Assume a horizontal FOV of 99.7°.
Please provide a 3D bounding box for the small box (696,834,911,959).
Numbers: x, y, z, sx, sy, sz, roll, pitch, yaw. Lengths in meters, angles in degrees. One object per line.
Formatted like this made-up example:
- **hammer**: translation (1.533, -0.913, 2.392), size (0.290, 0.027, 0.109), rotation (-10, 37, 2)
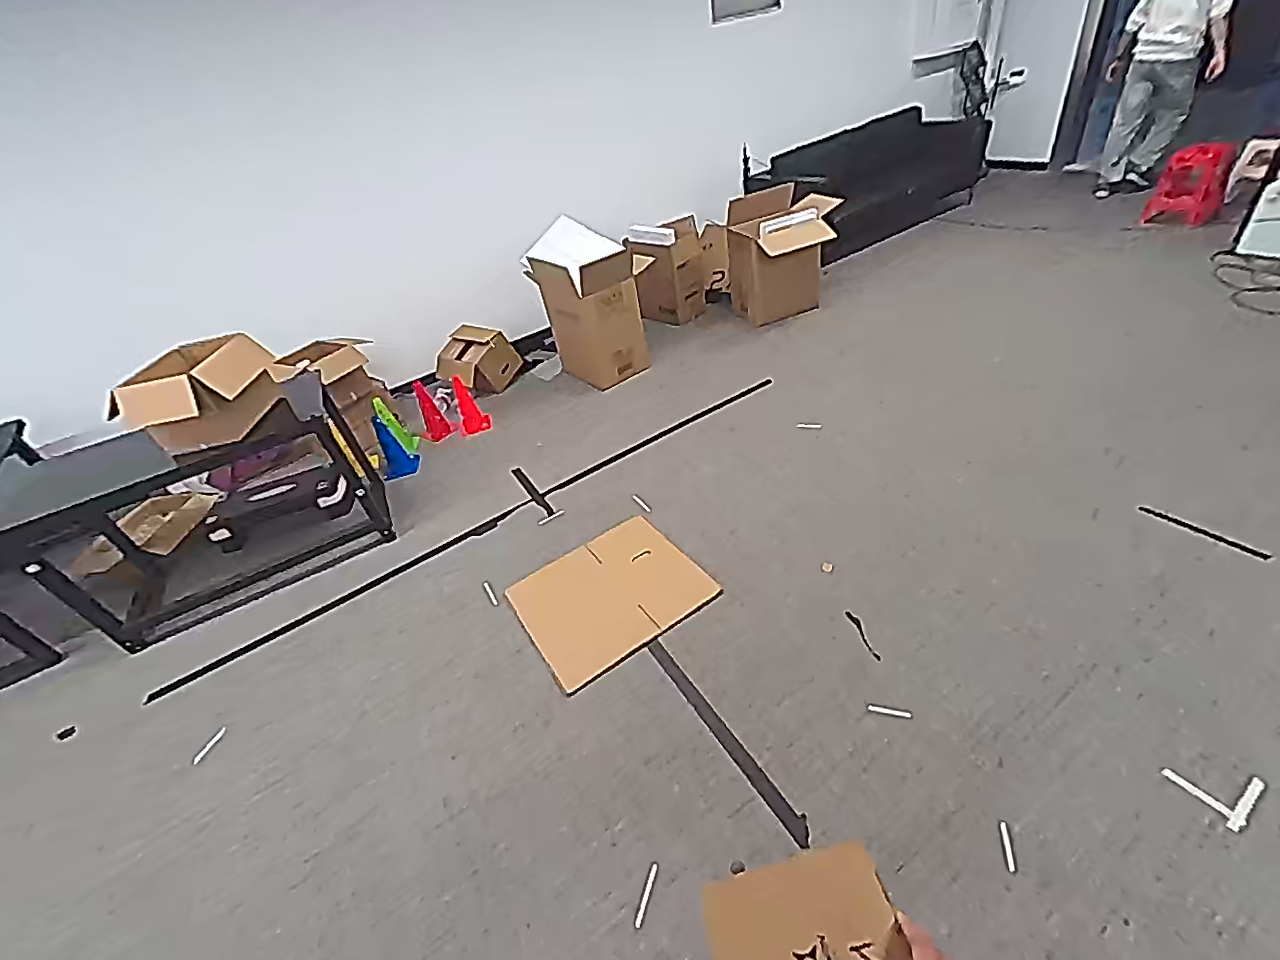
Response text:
- **small box**: translation (0.164, 0.496, 0.549), size (0.179, 0.176, 0.168), rotation (-12, 44, -6)
